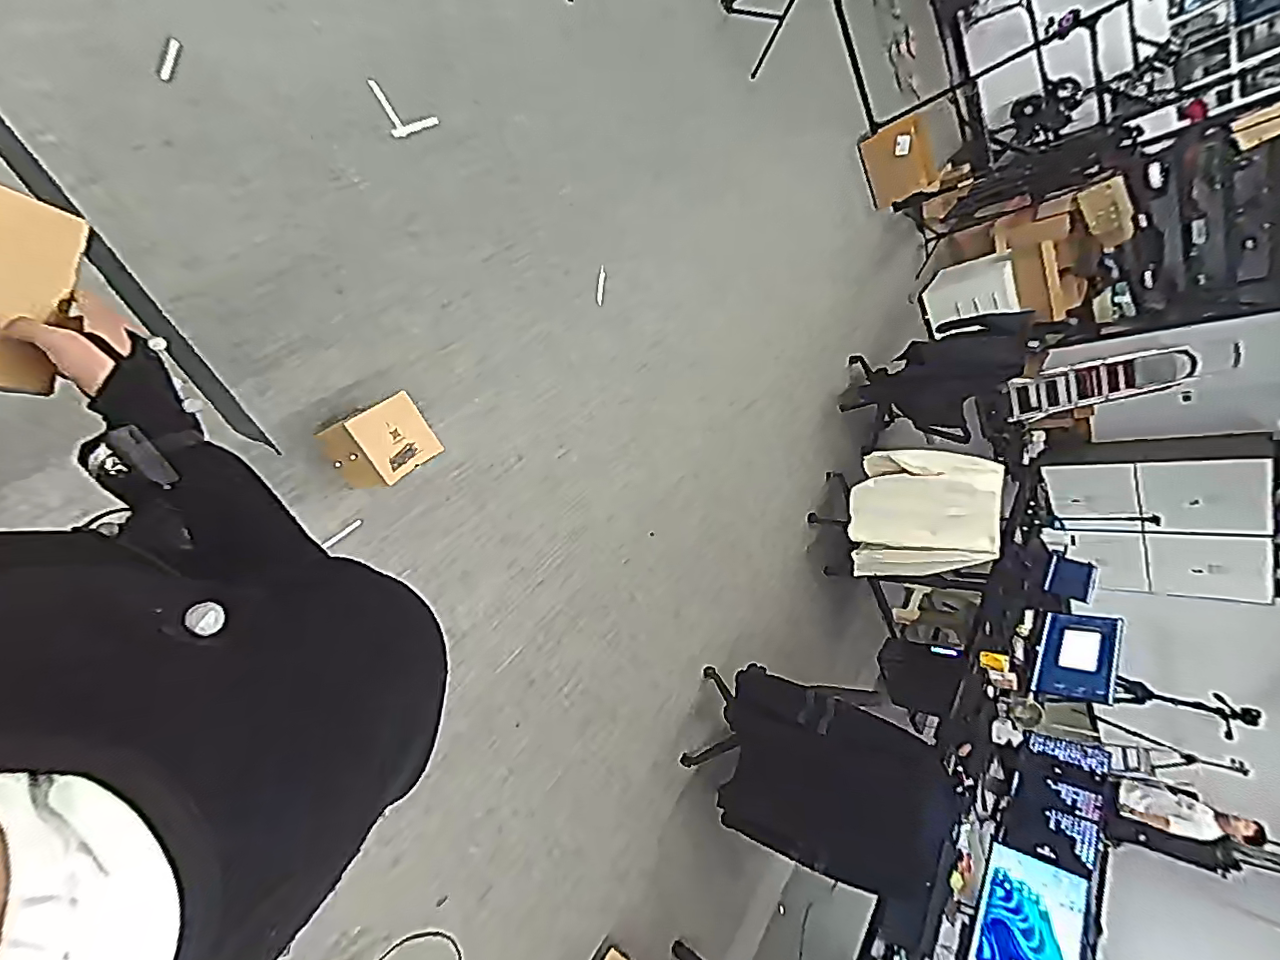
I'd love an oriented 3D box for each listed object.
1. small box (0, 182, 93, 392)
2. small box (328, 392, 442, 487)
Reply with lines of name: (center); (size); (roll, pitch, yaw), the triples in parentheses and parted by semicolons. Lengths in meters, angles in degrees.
small box: (-0.620, -0.176, 0.443); (0.179, 0.176, 0.168); (17, 81, -67)
small box: (-0.638, -0.098, 1.351); (0.168, 0.176, 0.179); (-44, 115, -35)
